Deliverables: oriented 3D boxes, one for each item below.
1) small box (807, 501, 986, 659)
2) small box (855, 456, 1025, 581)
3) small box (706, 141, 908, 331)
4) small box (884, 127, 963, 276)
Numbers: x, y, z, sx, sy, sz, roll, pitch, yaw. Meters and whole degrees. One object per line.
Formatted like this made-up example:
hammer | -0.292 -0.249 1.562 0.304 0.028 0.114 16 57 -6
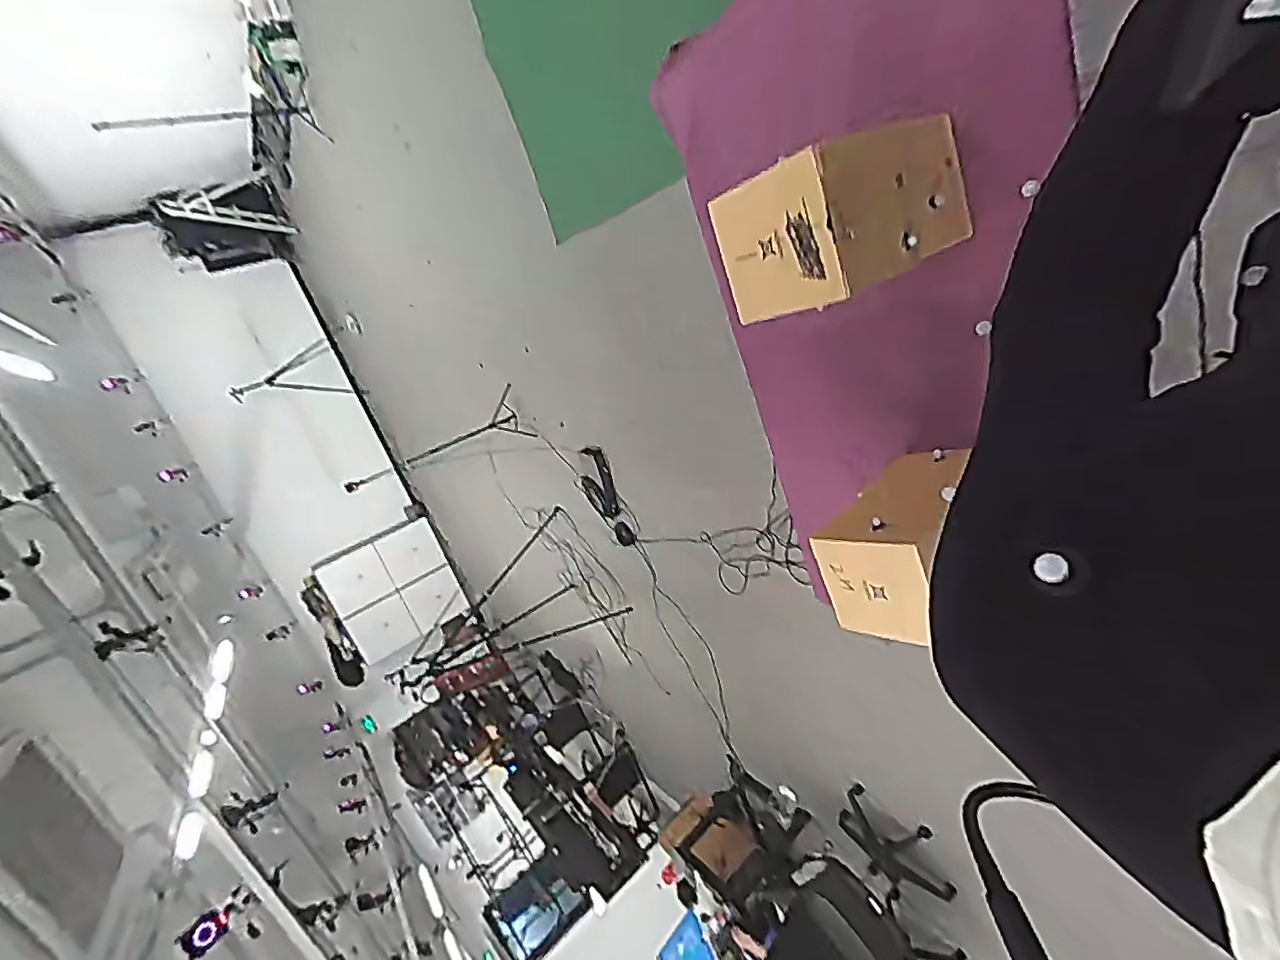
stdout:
small box | 0.394 0.138 0.820 0.179 0.176 0.168 -4 111 57
small box | 0.508 0.069 0.919 0.179 0.176 0.168 -6 111 58
small box | 0.222 -0.310 0.699 0.179 0.176 0.168 7 121 56
small box | 0.341 -0.381 0.788 0.179 0.176 0.168 1 117 57
